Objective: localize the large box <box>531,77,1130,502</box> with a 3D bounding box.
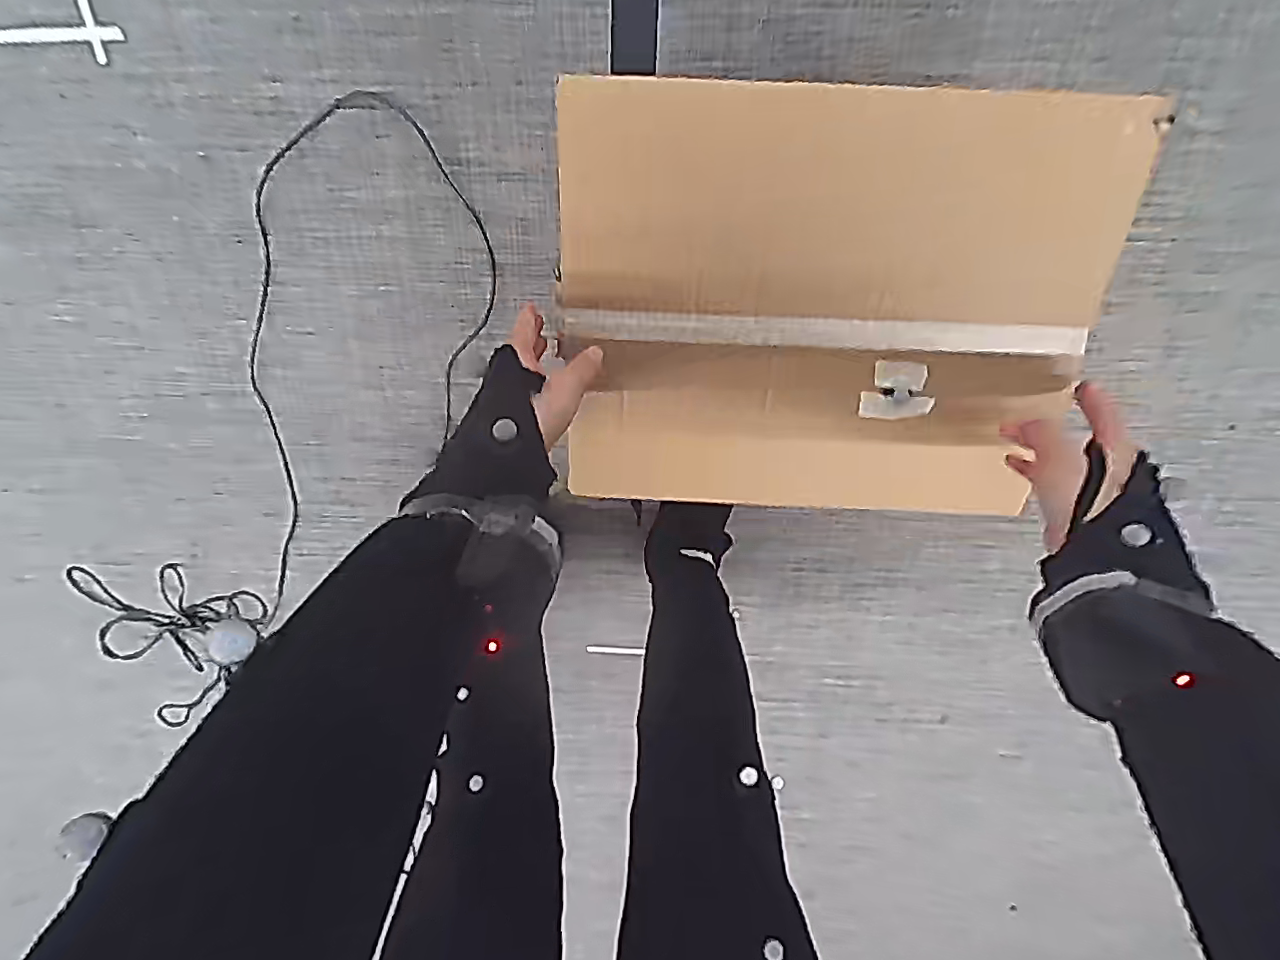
[{"bbox_3d":[0.124,-0.183,0.552,0.408,0.320,0.320,1,116,0],"label":"large box"}]
